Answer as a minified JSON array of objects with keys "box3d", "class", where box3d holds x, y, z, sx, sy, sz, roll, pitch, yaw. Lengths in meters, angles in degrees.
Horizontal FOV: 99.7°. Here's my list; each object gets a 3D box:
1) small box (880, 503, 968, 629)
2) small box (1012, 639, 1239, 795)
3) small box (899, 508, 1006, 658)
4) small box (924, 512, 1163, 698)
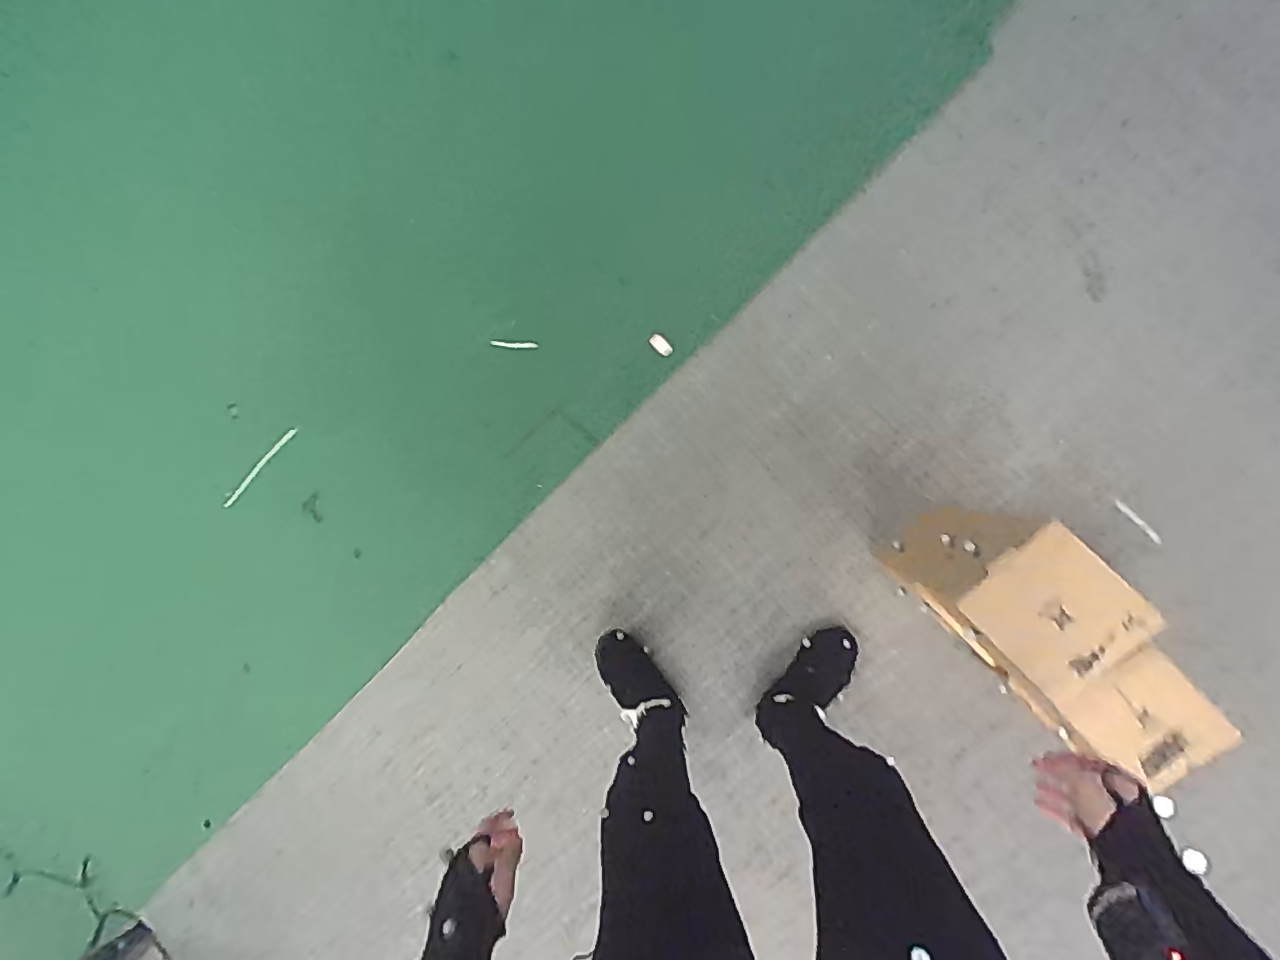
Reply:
[{"box3d":[0.606,0.162,1.077,0.179,0.176,0.168,-42,82,10],"class":"small box"},{"box3d":[0.762,0.351,0.874,0.168,0.176,0.179,-41,81,9],"class":"small box"},{"box3d":[0.571,0.164,0.919,0.179,0.176,0.168,-45,81,9],"class":"small box"},{"box3d":[0.539,0.161,0.758,0.168,0.176,0.179,-44,80,10],"class":"small box"}]
